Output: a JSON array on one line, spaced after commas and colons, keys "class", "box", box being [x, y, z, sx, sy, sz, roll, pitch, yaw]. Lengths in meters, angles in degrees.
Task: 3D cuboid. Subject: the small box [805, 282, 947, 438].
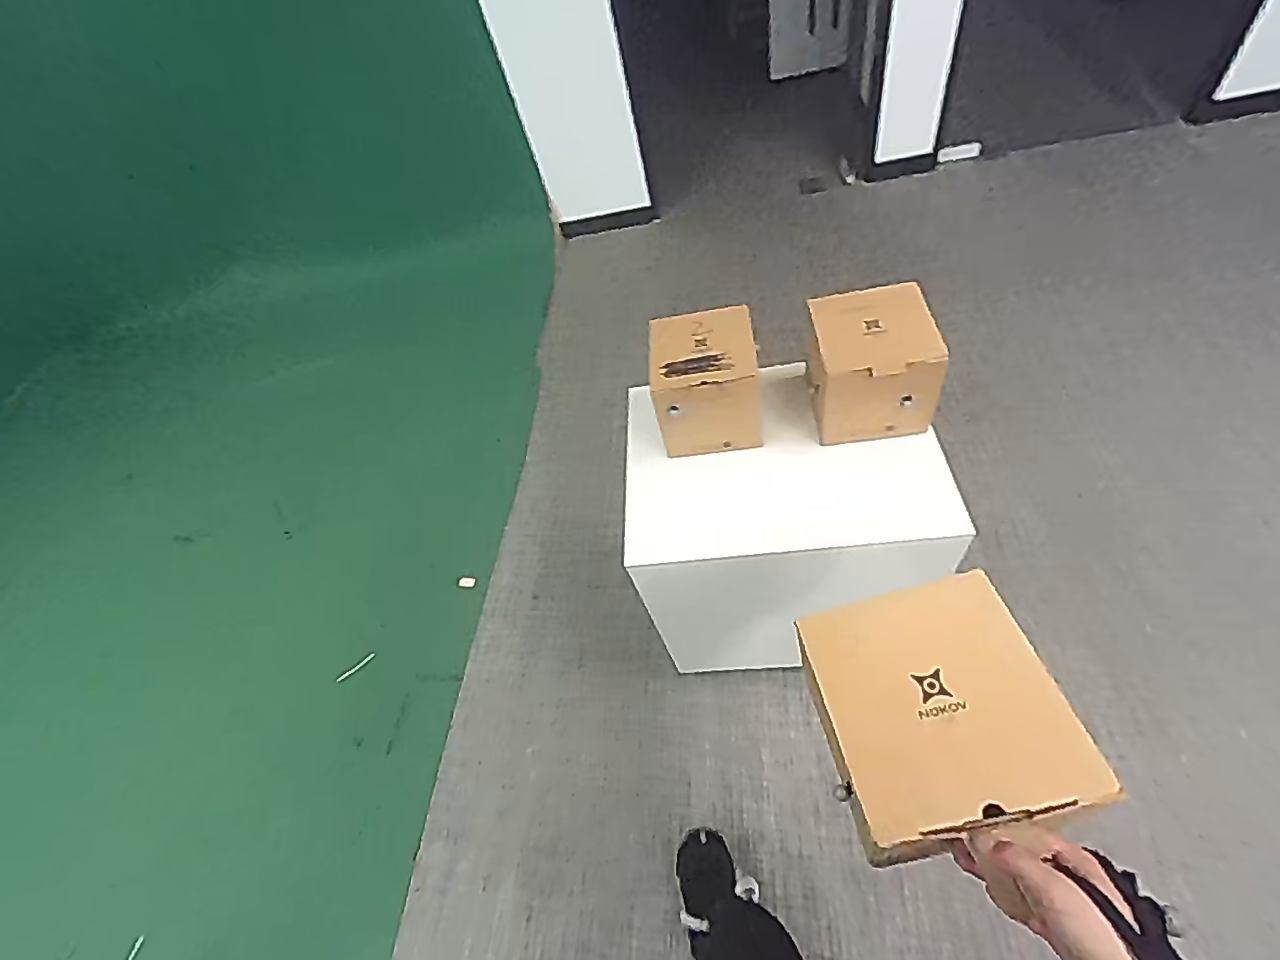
[{"class": "small box", "box": [0.362, -0.181, 0.864, 0.168, 0.176, 0.179, -7, 53, 10]}]

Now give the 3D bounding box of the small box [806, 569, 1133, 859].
[{"class": "small box", "box": [0.256, 0.209, 0.475, 0.168, 0.176, 0.179, -17, 49, 8]}]
